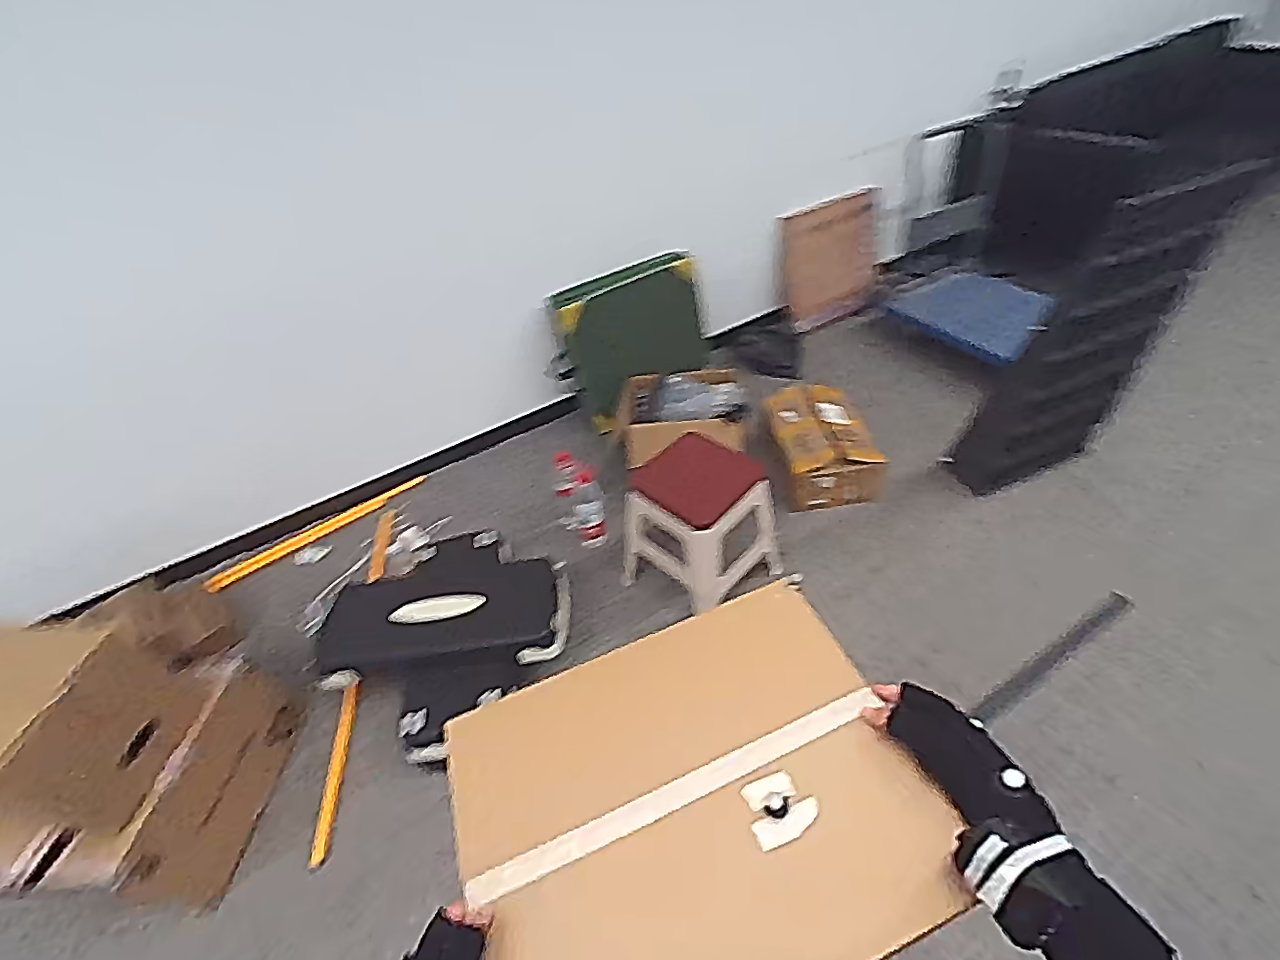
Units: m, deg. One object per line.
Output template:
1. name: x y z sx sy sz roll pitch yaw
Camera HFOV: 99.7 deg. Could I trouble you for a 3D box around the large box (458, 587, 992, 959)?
1. large box: 0.063 0.392 0.596 0.408 0.320 0.320 -20 45 -10
